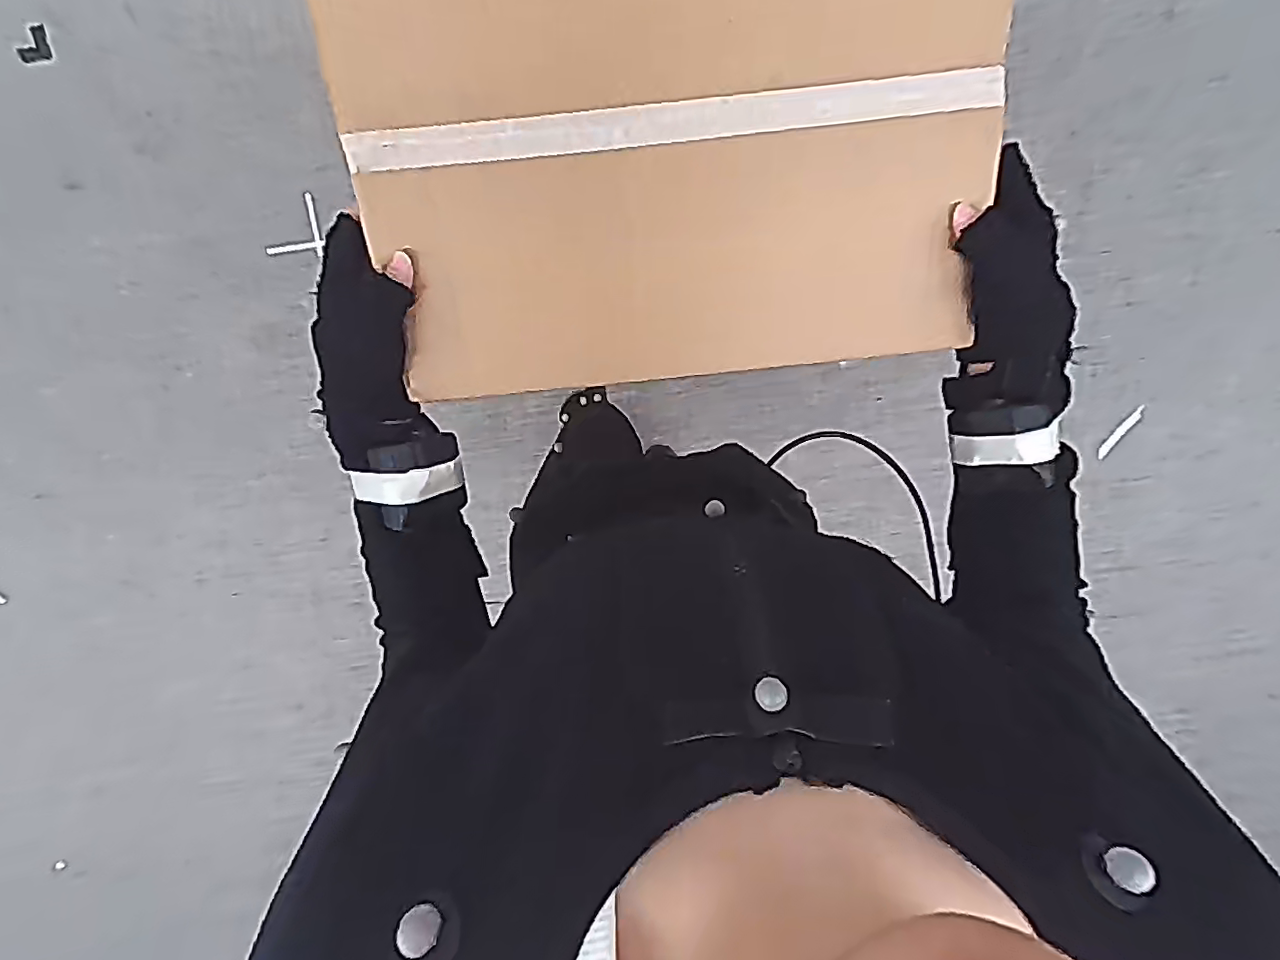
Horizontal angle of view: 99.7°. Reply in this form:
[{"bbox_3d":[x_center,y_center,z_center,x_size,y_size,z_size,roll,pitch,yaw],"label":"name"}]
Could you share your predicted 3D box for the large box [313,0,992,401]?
[{"bbox_3d":[0.012,-0.276,0.478,0.408,0.320,0.320,-6,111,0],"label":"large box"}]
